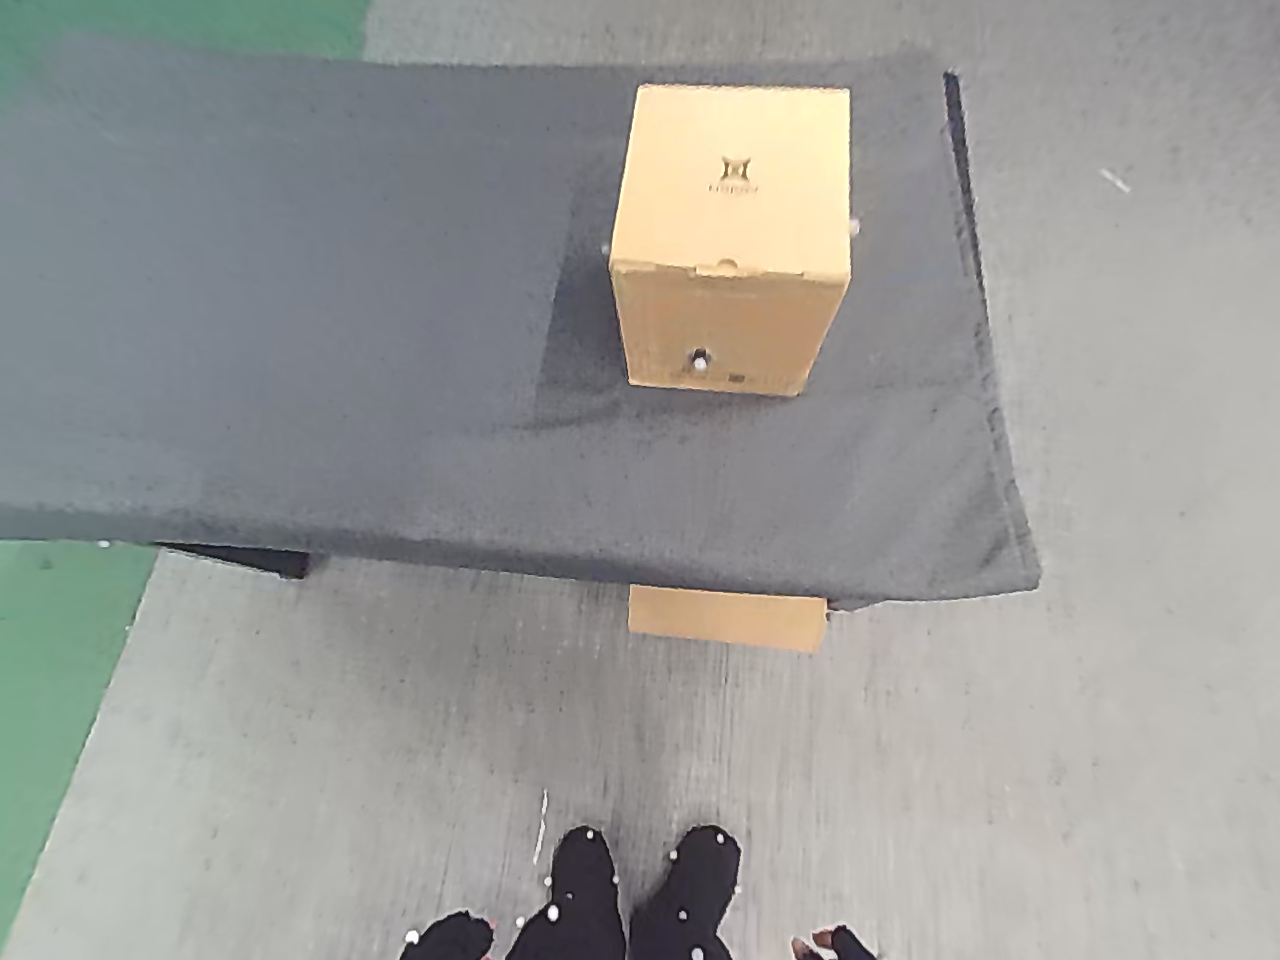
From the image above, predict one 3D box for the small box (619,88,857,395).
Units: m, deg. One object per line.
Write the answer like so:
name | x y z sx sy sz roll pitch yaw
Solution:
small box | 0.079 -0.196 0.471 0.168 0.176 0.179 5 72 5
